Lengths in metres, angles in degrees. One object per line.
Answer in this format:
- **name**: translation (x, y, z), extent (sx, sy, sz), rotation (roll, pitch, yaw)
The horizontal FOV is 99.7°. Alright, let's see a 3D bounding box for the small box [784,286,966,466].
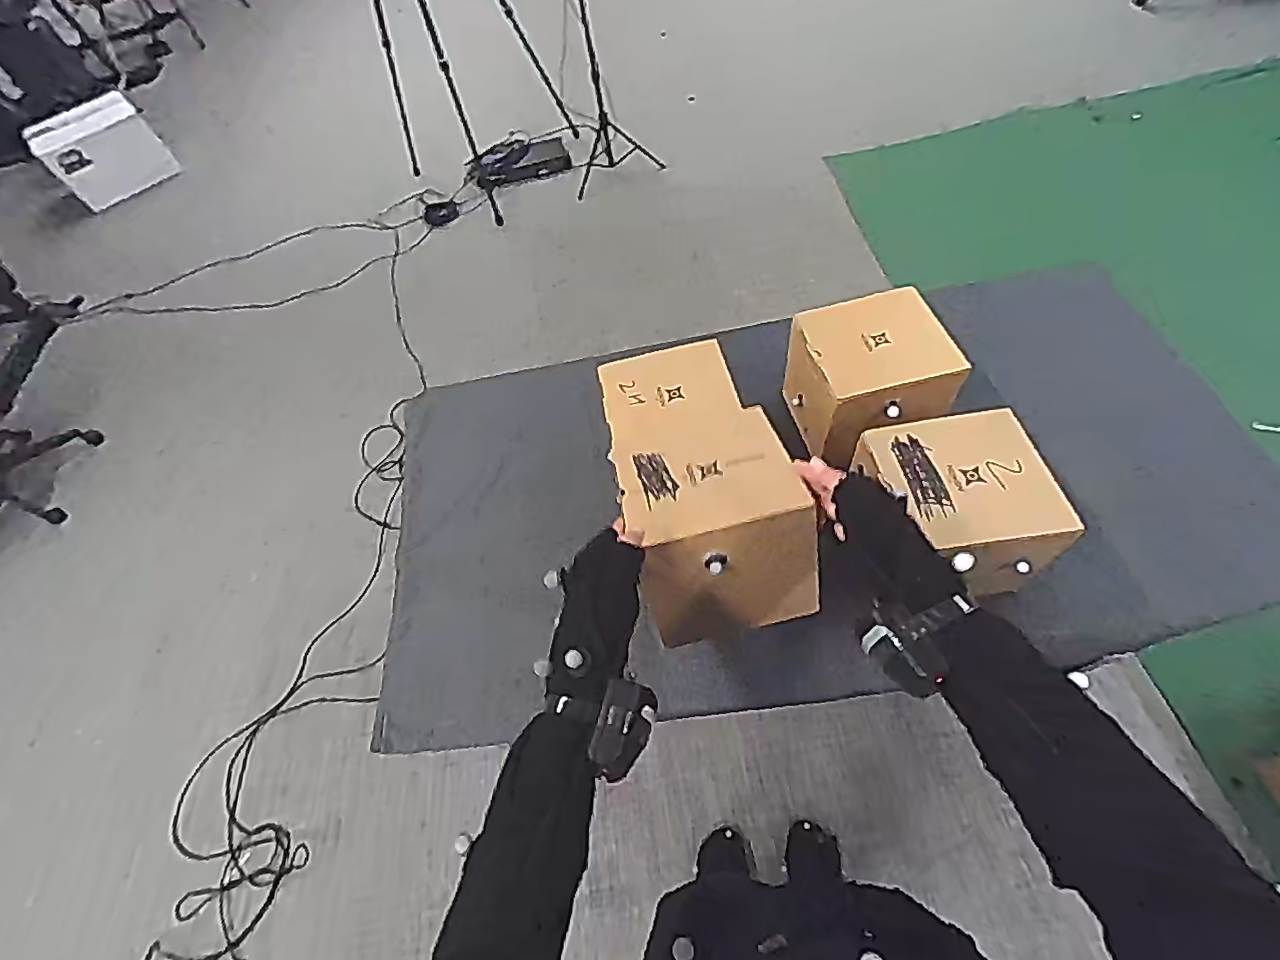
- **small box**: translation (0.321, -0.144, 0.784), extent (0.179, 0.176, 0.168), rotation (-14, 57, 2)
